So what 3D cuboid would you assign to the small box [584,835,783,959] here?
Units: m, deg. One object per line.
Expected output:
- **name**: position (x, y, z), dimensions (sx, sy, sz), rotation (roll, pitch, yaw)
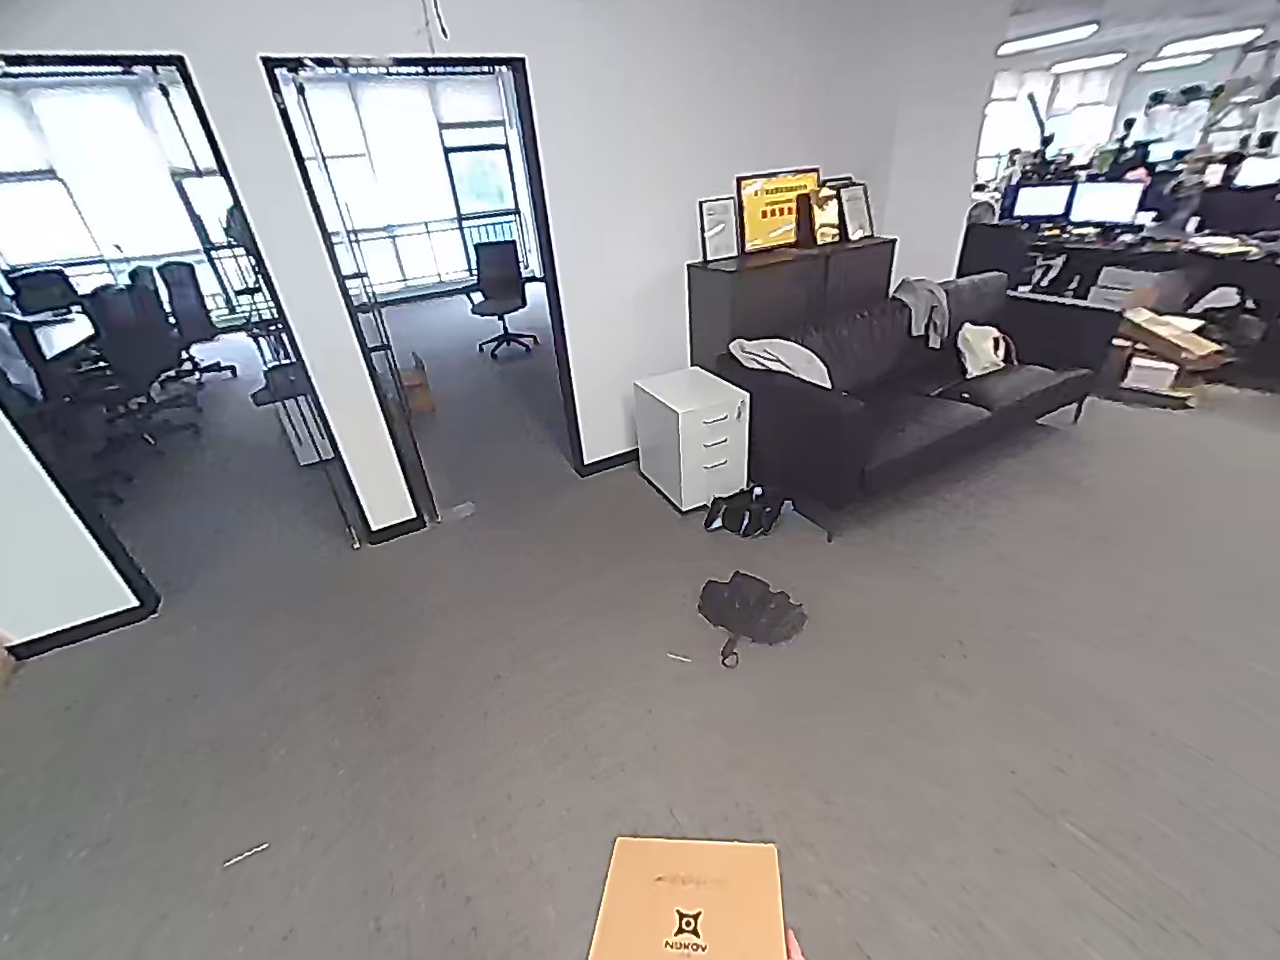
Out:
- **small box**: position (0.047, 0.466, 0.487), dimensions (0.168, 0.176, 0.179), rotation (-3, 12, 10)
